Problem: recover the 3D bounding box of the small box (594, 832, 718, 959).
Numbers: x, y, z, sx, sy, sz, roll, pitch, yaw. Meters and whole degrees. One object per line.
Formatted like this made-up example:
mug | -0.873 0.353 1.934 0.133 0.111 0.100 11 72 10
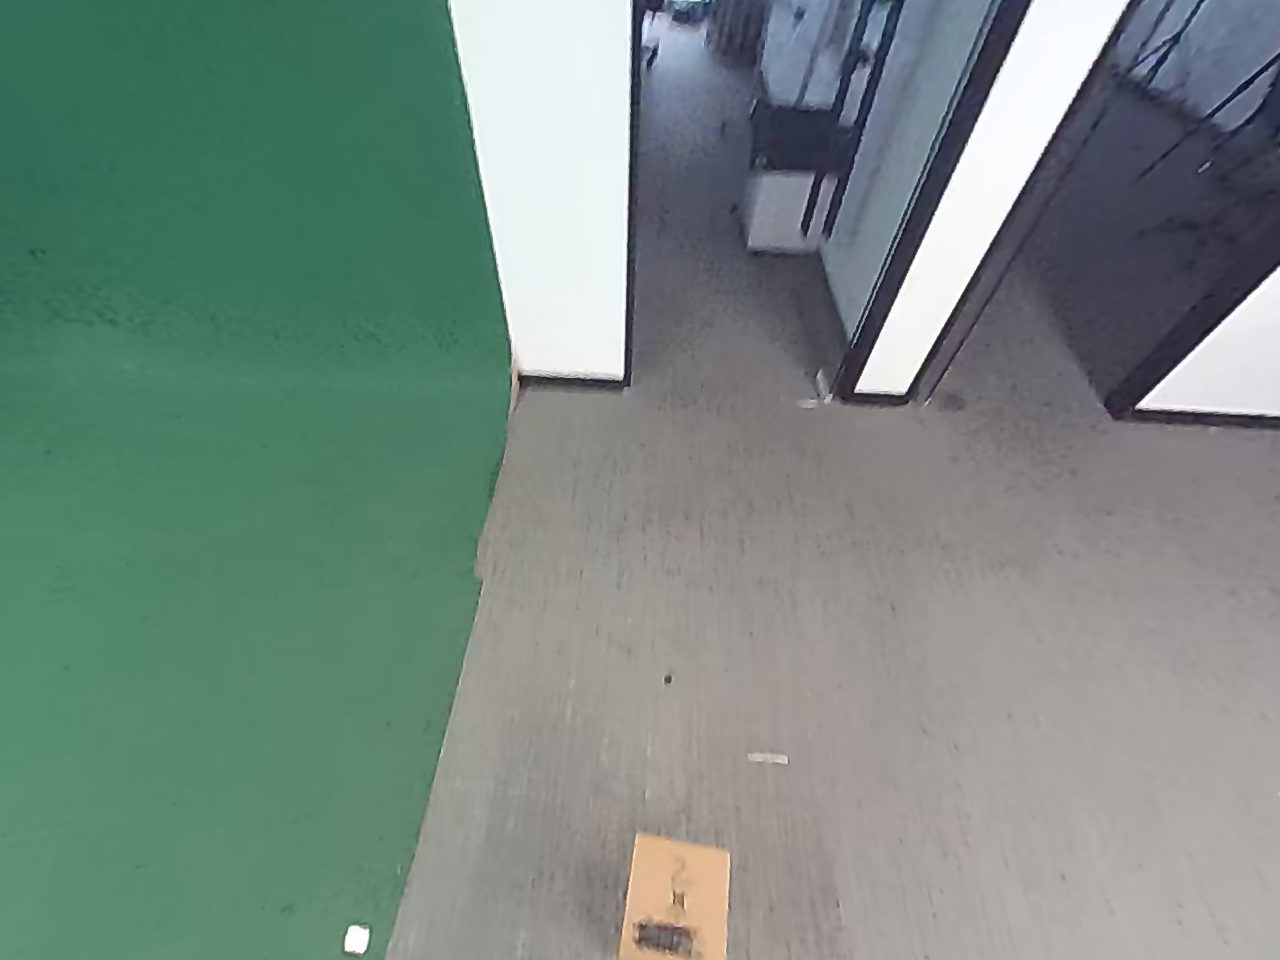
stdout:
small box | 0.028 0.840 1.063 0.179 0.176 0.168 34 58 23
